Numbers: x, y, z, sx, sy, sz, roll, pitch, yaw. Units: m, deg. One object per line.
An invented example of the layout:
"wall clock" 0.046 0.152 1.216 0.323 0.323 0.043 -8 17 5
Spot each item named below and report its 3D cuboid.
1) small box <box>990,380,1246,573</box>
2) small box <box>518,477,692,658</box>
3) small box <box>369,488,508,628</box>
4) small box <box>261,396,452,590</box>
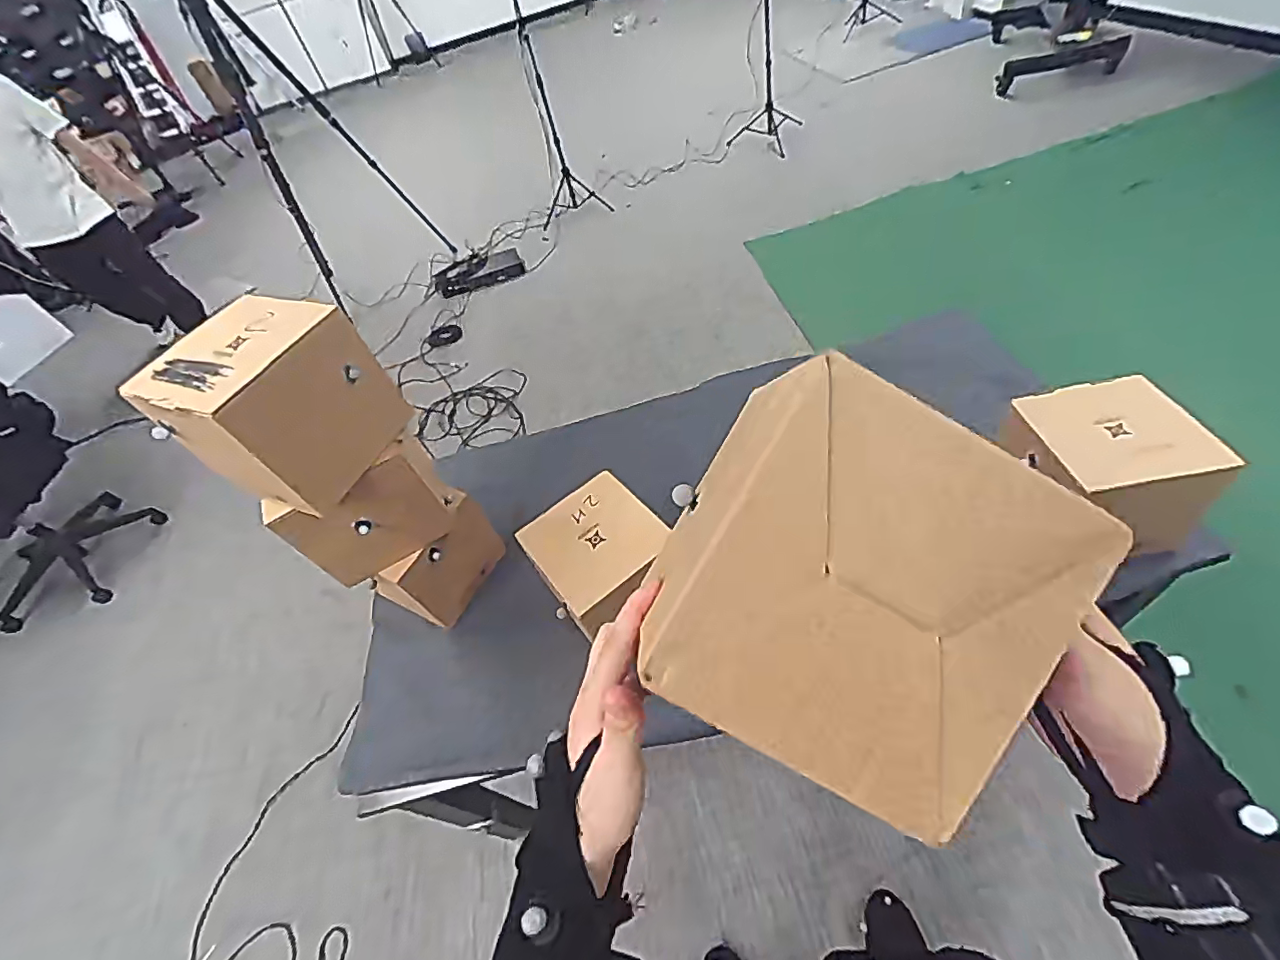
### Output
"small box" 0.602 -0.002 0.718 0.168 0.176 0.179 -12 46 8
"small box" -0.043 0.135 0.791 0.168 0.176 0.179 -36 51 -16
"small box" -0.355 0.119 0.892 0.179 0.176 0.168 16 58 26
"small box" -0.388 0.020 0.764 0.179 0.176 0.168 -31 51 -10
